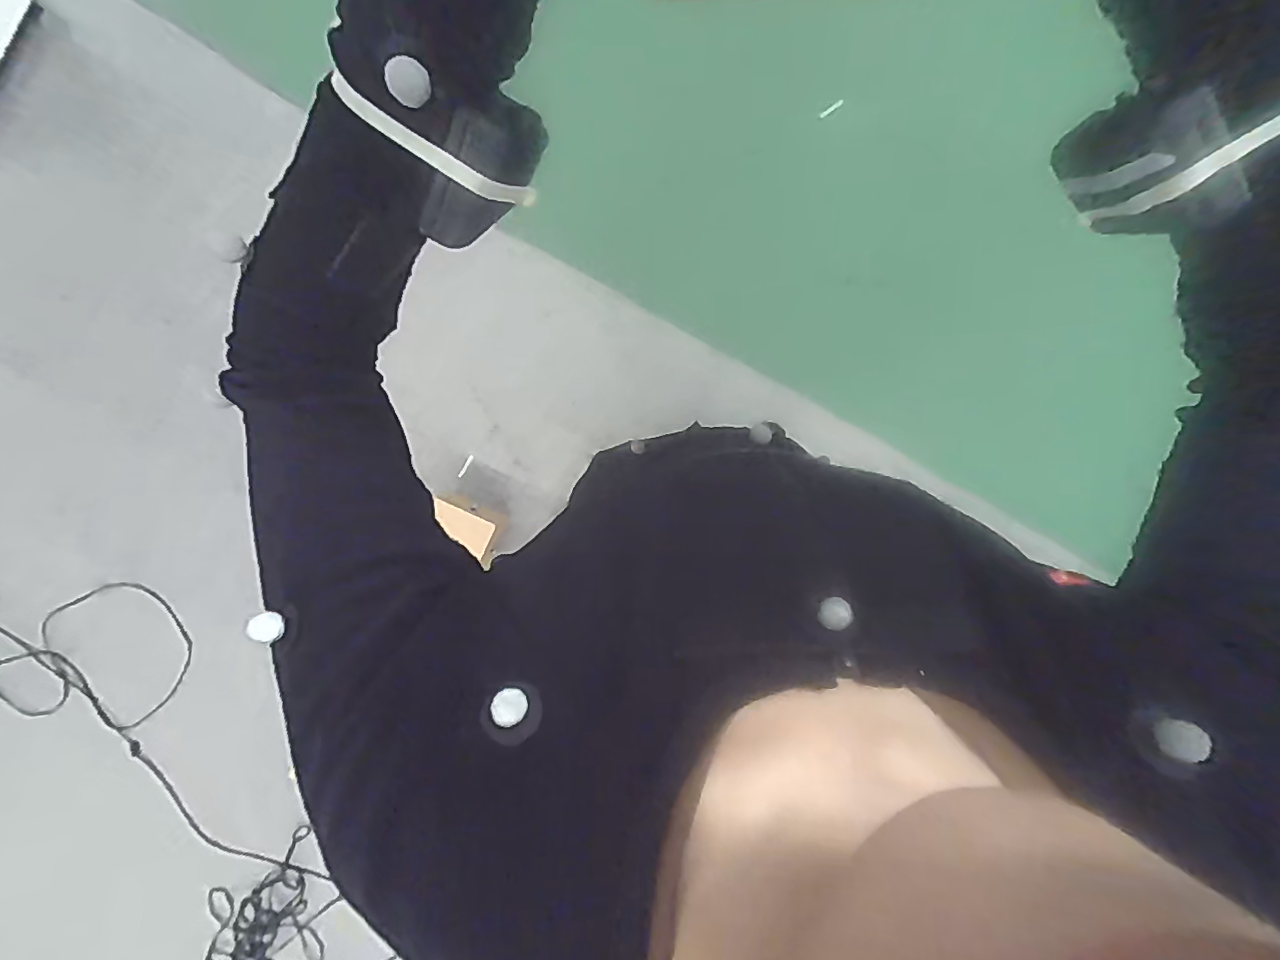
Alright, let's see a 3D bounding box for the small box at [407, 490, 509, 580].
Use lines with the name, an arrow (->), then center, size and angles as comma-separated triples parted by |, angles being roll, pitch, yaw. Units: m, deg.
small box -> -0.460, 0.133, 1.401 | 0.179, 0.176, 0.168 | 25, 92, -2
